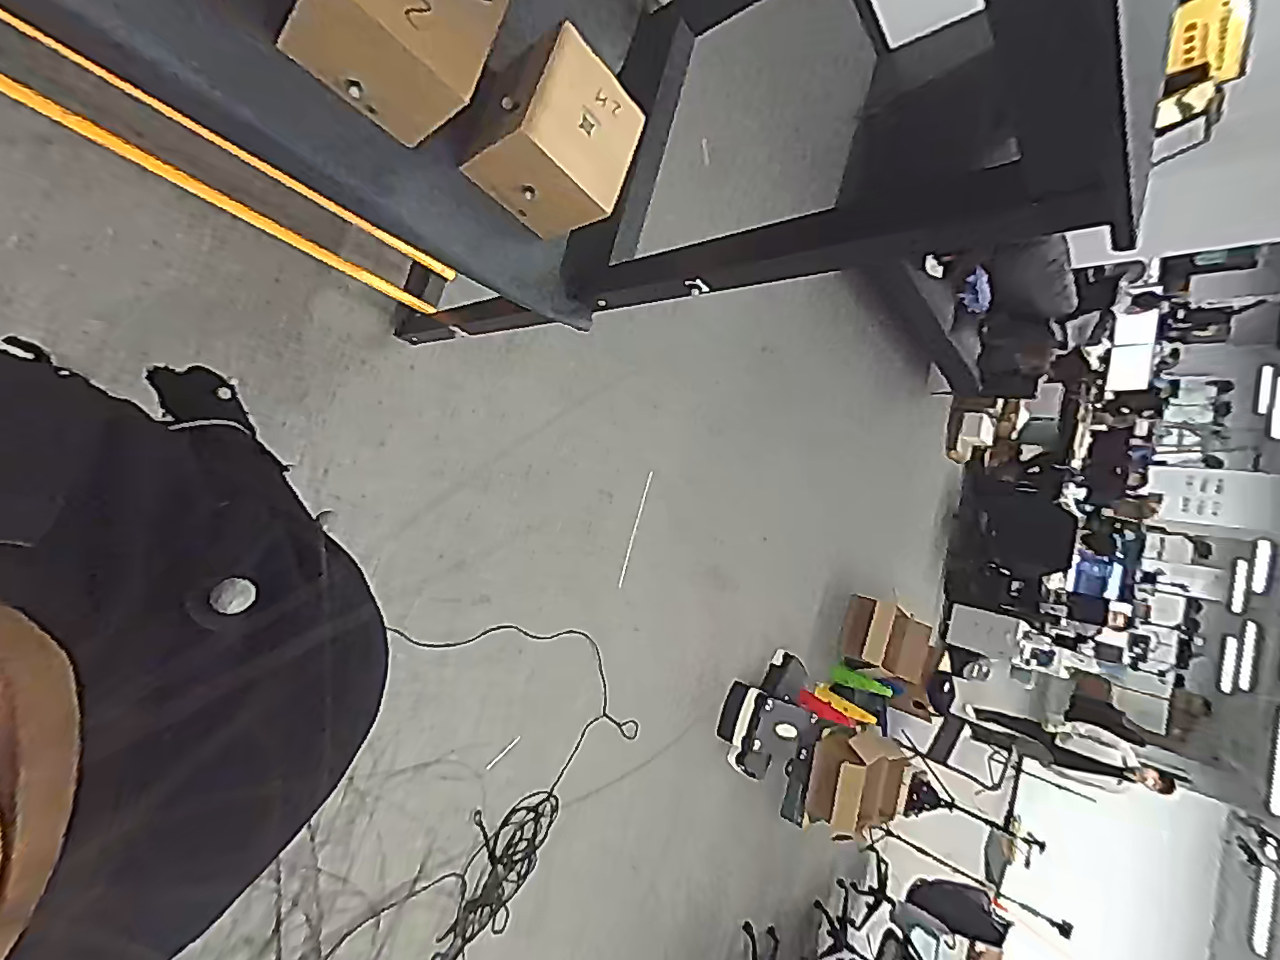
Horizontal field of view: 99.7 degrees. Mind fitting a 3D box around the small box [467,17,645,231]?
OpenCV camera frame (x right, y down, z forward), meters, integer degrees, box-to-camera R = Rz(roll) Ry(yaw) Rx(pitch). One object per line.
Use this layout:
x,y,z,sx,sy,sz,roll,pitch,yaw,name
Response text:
-0.127,-0.497,0.789,0.168,0.176,0.179,28,76,-44,small box
